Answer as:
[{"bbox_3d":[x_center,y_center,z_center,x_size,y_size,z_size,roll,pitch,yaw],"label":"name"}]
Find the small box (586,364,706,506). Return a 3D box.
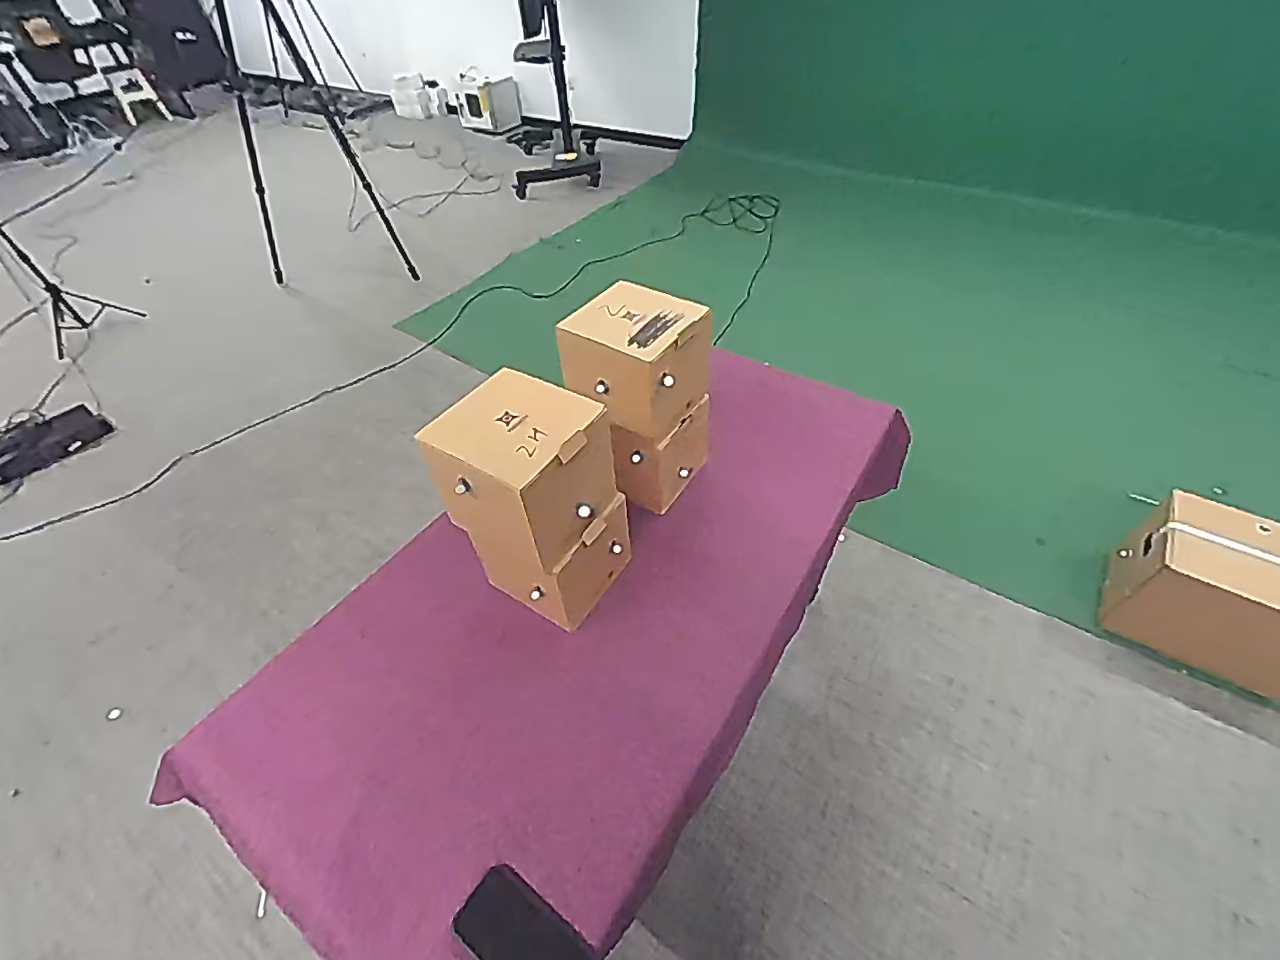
[{"bbox_3d":[0.003,-0.080,0.987,0.179,0.176,0.168,25,54,23],"label":"small box"}]

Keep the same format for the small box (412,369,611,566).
[{"bbox_3d":[-0.157,-0.015,0.717,0.179,0.176,0.168,24,53,23],"label":"small box"}]

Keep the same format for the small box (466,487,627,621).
[{"bbox_3d":[-0.134,0.093,0.840,0.179,0.176,0.168,24,53,24],"label":"small box"}]
